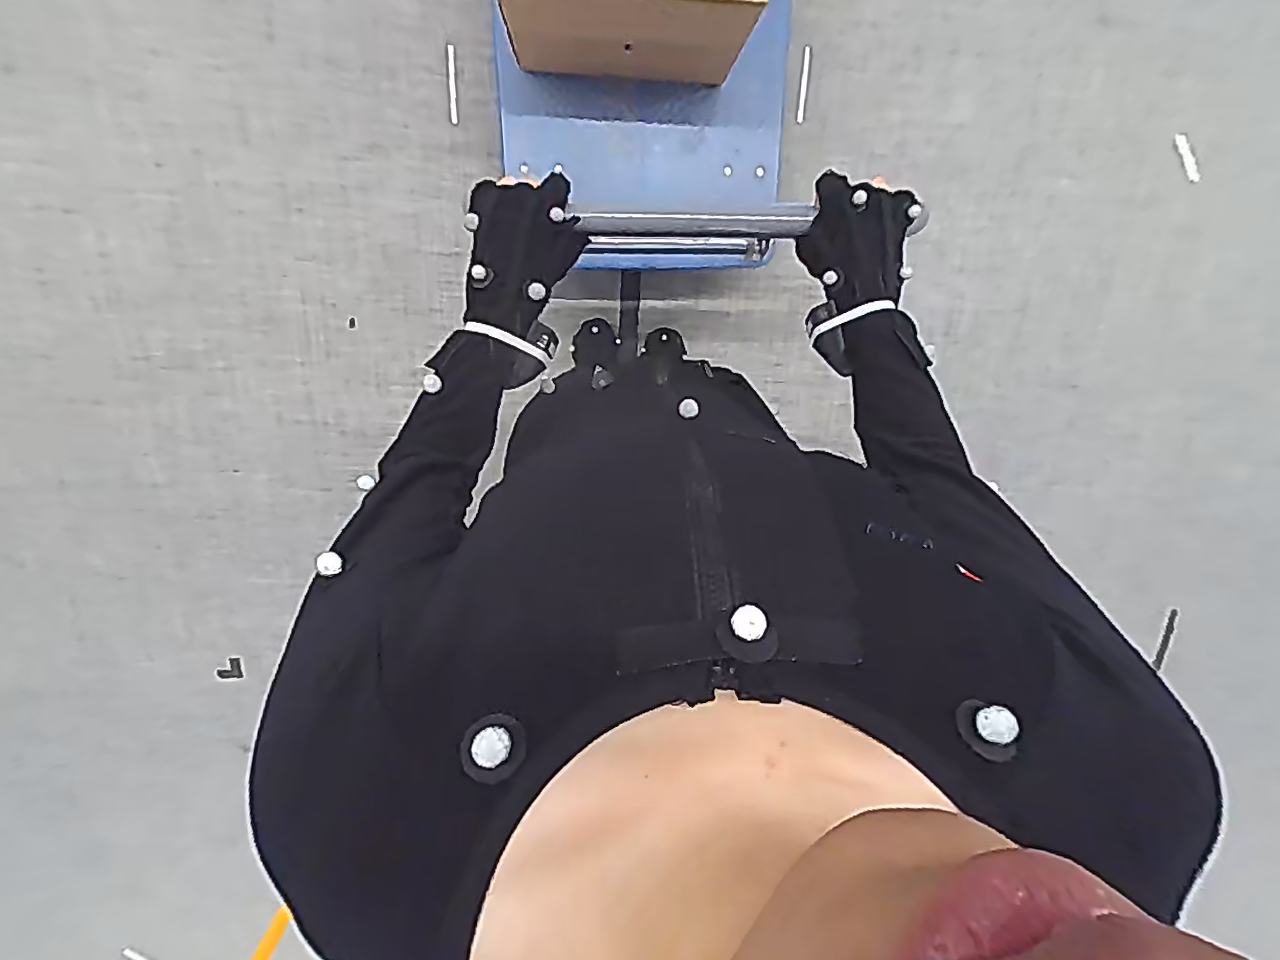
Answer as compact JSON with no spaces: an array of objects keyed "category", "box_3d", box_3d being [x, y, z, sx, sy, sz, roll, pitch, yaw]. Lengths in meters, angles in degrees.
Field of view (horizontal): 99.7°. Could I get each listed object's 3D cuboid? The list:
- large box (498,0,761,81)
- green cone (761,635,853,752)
[{"category":"large box","box_3d":[-0.020,-0.903,0.897,0.408,0.320,0.320,0,107,-4]},{"category":"green cone","box_3d":[0.508,0.635,1.559,0.202,0.368,0.200,4,107,-7]}]
